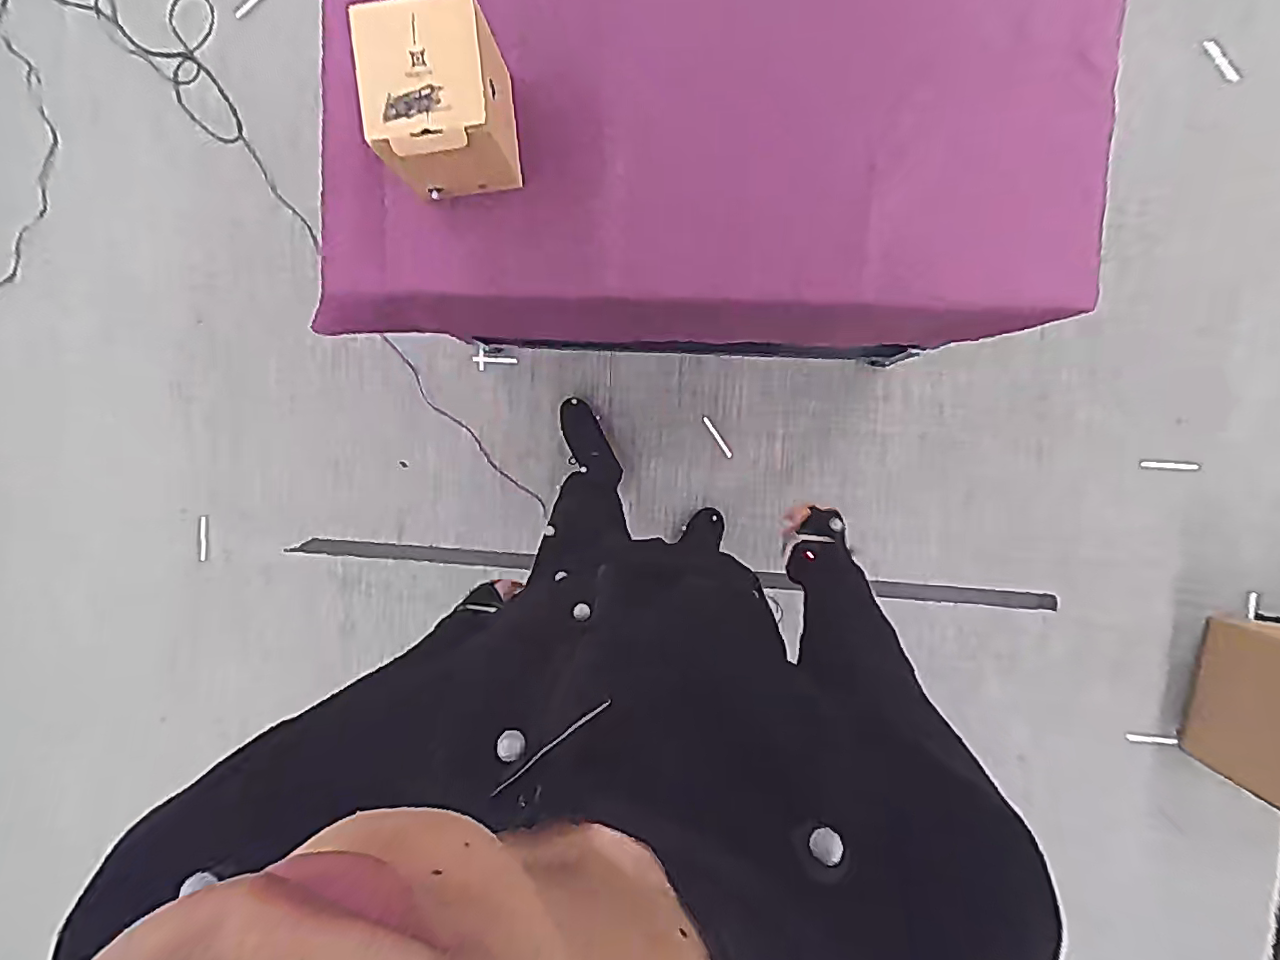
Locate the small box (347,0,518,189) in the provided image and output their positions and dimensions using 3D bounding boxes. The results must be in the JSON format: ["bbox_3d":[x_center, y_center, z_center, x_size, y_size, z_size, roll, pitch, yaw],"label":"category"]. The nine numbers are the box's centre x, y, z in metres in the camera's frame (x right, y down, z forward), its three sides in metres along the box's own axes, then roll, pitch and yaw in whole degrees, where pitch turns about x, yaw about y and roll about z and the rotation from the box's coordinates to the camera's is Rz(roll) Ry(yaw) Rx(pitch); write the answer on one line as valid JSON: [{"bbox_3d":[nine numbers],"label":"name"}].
[{"bbox_3d":[-0.282,-0.542,0.773,0.168,0.176,0.179,-6,93,3],"label":"small box"}]
